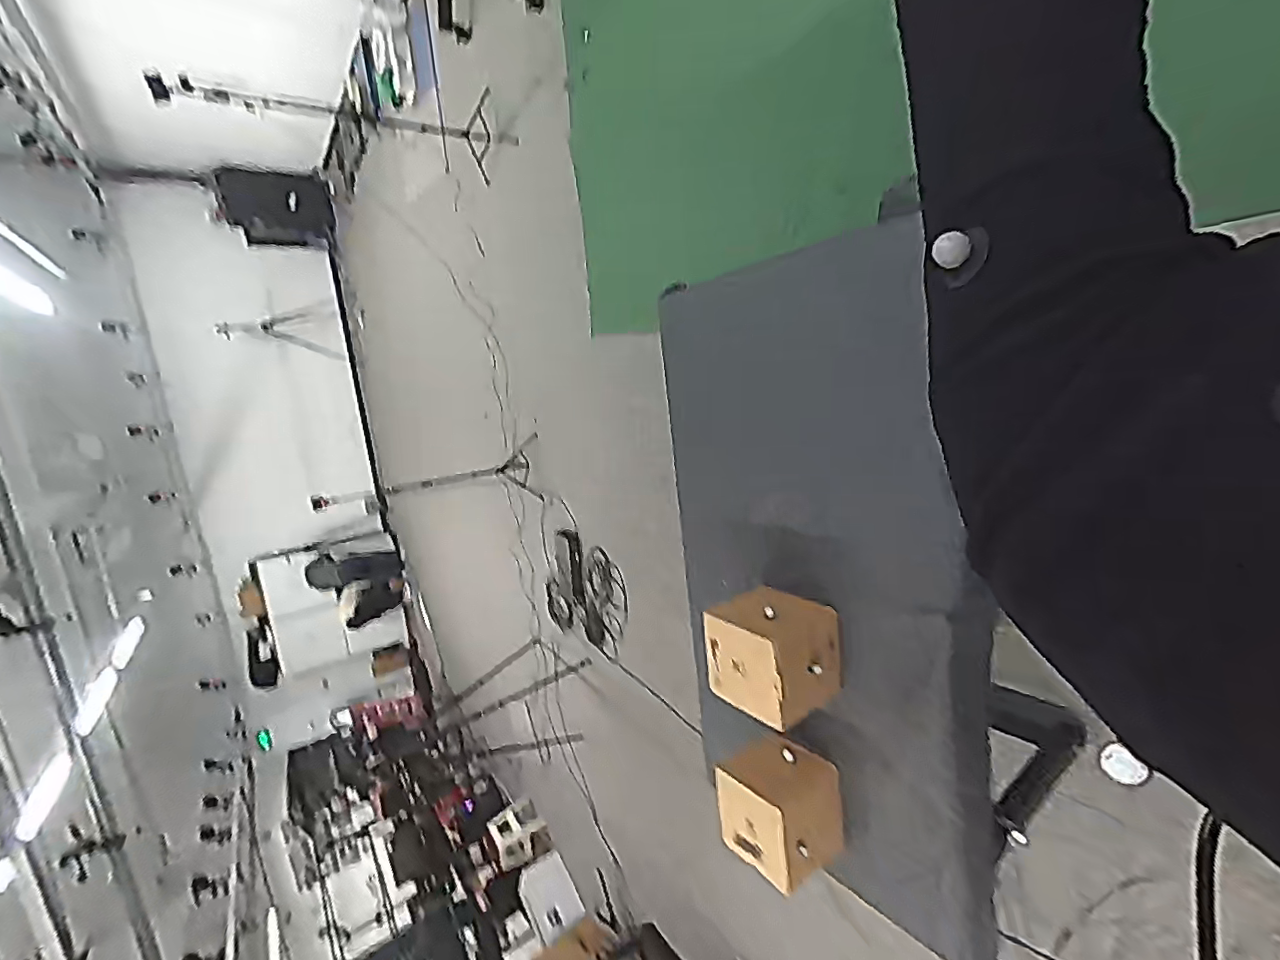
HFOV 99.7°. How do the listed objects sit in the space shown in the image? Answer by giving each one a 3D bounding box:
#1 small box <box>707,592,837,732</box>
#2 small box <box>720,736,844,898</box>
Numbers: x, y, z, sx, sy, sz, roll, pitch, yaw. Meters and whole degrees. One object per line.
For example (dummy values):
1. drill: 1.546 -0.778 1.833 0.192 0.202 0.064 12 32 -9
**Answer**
1. small box: 0.249 0.322 1.002 0.179 0.176 0.168 8 107 54
2. small box: 0.281 0.647 1.062 0.168 0.176 0.179 3 102 55
